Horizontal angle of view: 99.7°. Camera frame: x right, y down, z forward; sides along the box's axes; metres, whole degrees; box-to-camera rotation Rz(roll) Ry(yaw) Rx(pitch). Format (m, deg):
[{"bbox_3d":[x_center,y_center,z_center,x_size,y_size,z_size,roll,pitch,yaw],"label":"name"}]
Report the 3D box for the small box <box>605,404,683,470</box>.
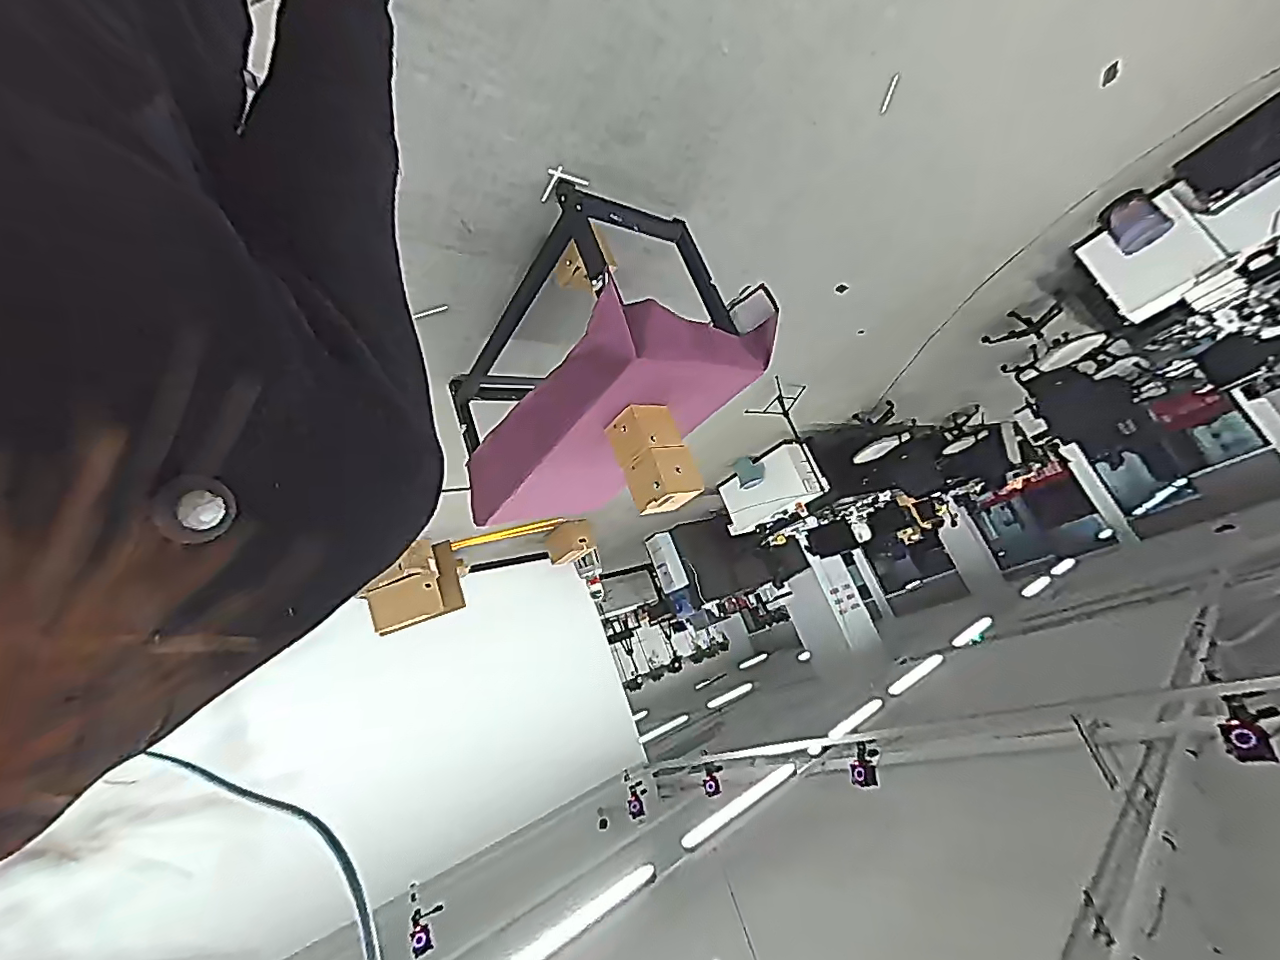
[{"bbox_3d":[0.010,-0.149,1.859,0.179,0.176,0.168,-5,157,-41],"label":"small box"}]
